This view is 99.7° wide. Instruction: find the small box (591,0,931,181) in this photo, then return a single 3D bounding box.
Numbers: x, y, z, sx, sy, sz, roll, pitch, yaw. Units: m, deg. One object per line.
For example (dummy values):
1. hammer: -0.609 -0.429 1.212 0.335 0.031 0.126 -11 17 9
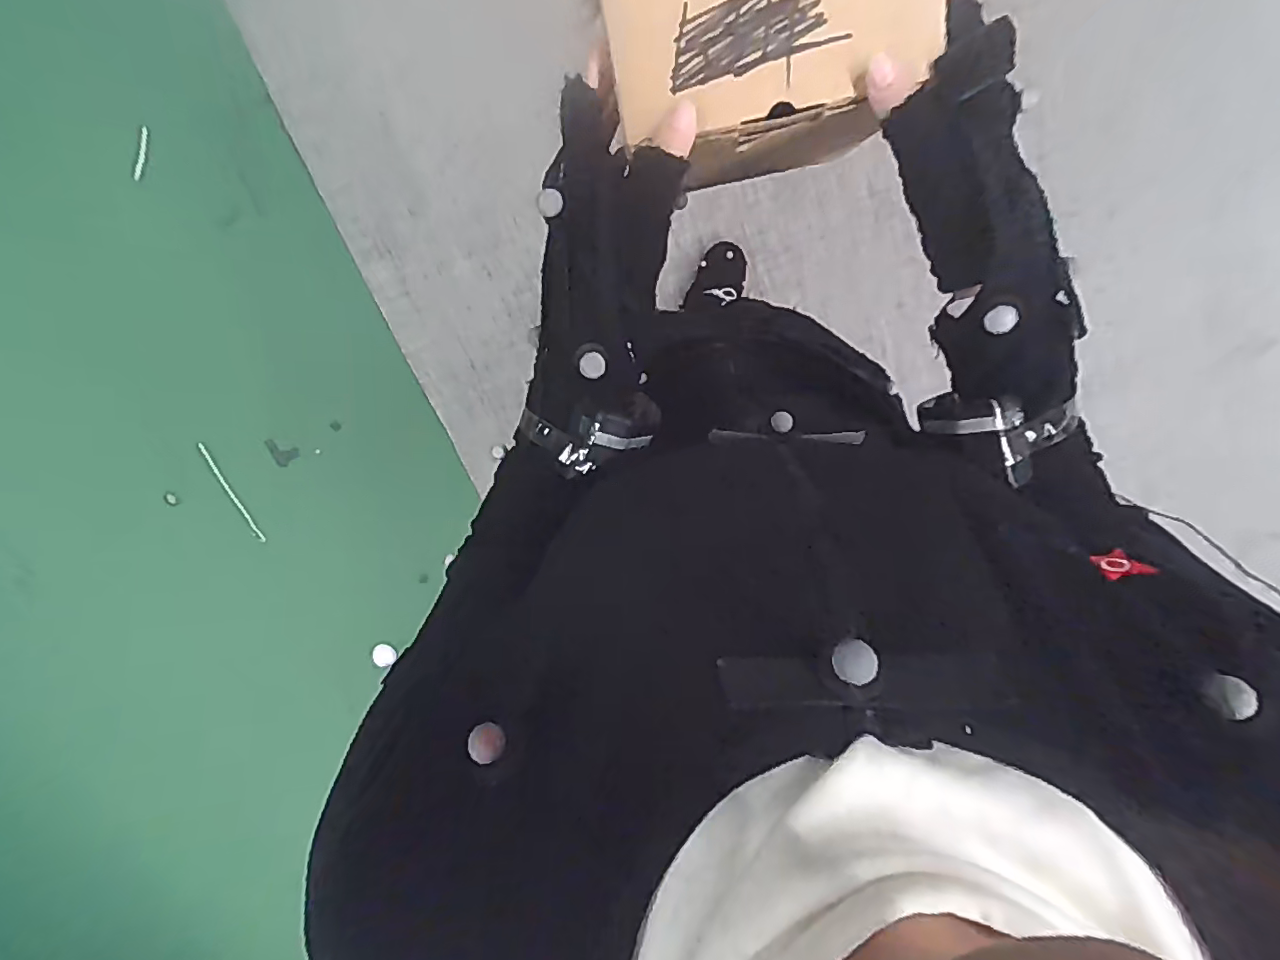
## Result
1. small box: 0.056 -0.301 0.330 0.168 0.176 0.179 -10 107 6
